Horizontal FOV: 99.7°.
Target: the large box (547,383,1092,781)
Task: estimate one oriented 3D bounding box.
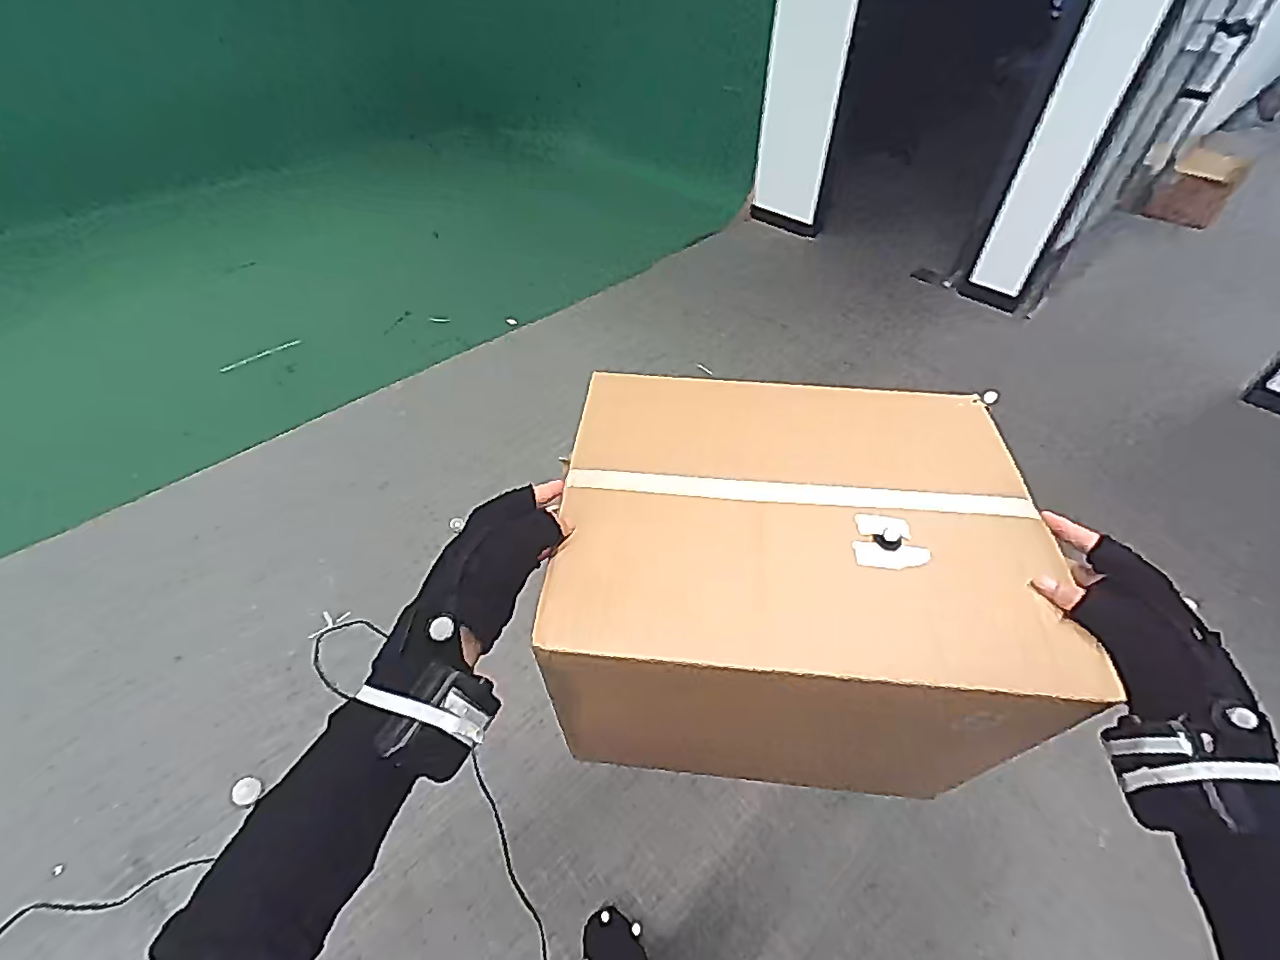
[{"bbox_3d":[0.133,0.116,0.599,0.408,0.320,0.320,4,50,2],"label":"large box"}]
